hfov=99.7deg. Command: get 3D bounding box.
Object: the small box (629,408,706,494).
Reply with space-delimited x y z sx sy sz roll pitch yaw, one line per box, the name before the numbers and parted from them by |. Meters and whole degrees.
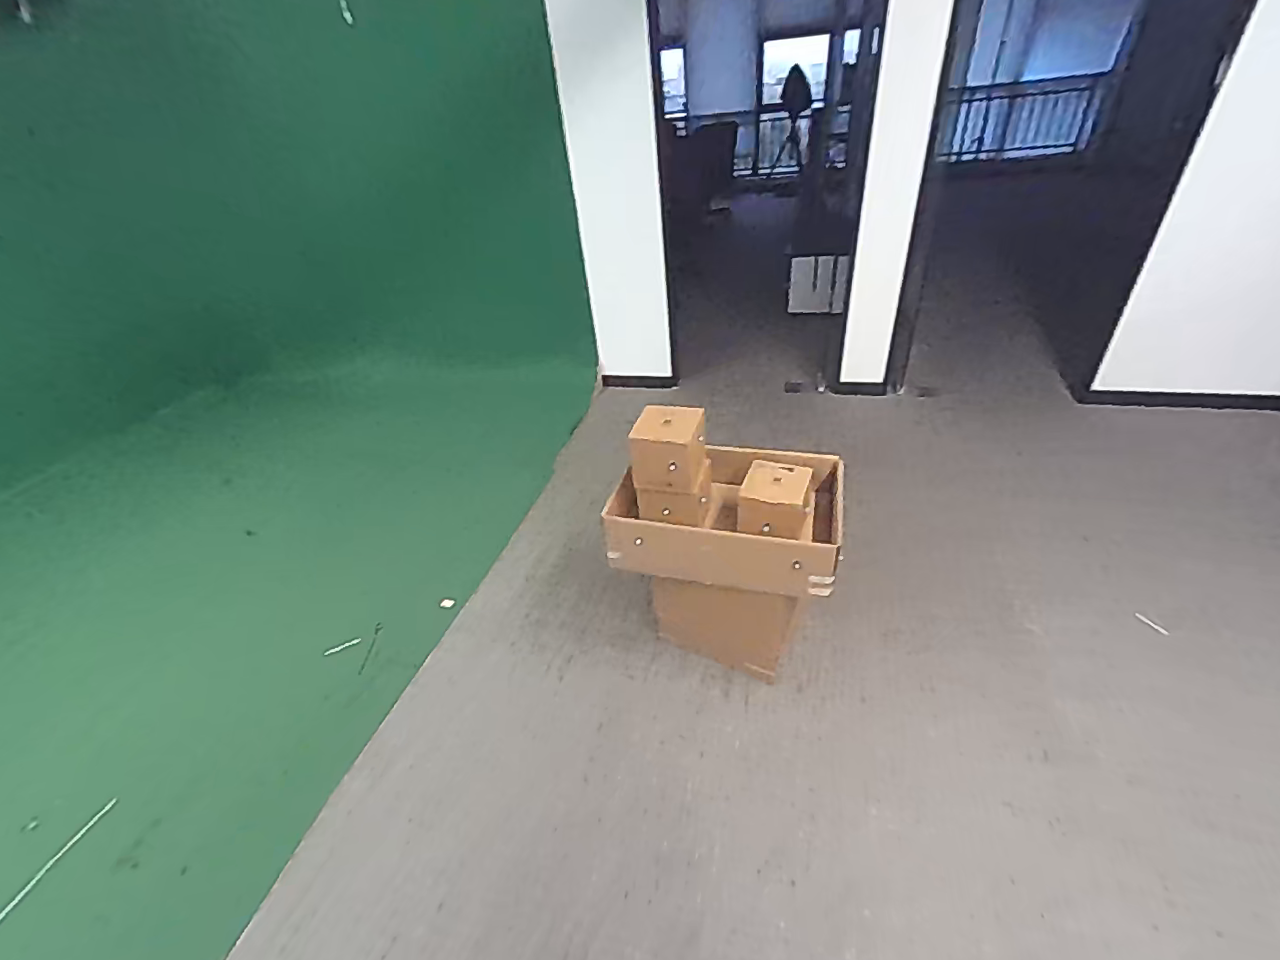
small box | 0.083 -0.079 1.479 0.168 0.176 0.179 6 37 18
